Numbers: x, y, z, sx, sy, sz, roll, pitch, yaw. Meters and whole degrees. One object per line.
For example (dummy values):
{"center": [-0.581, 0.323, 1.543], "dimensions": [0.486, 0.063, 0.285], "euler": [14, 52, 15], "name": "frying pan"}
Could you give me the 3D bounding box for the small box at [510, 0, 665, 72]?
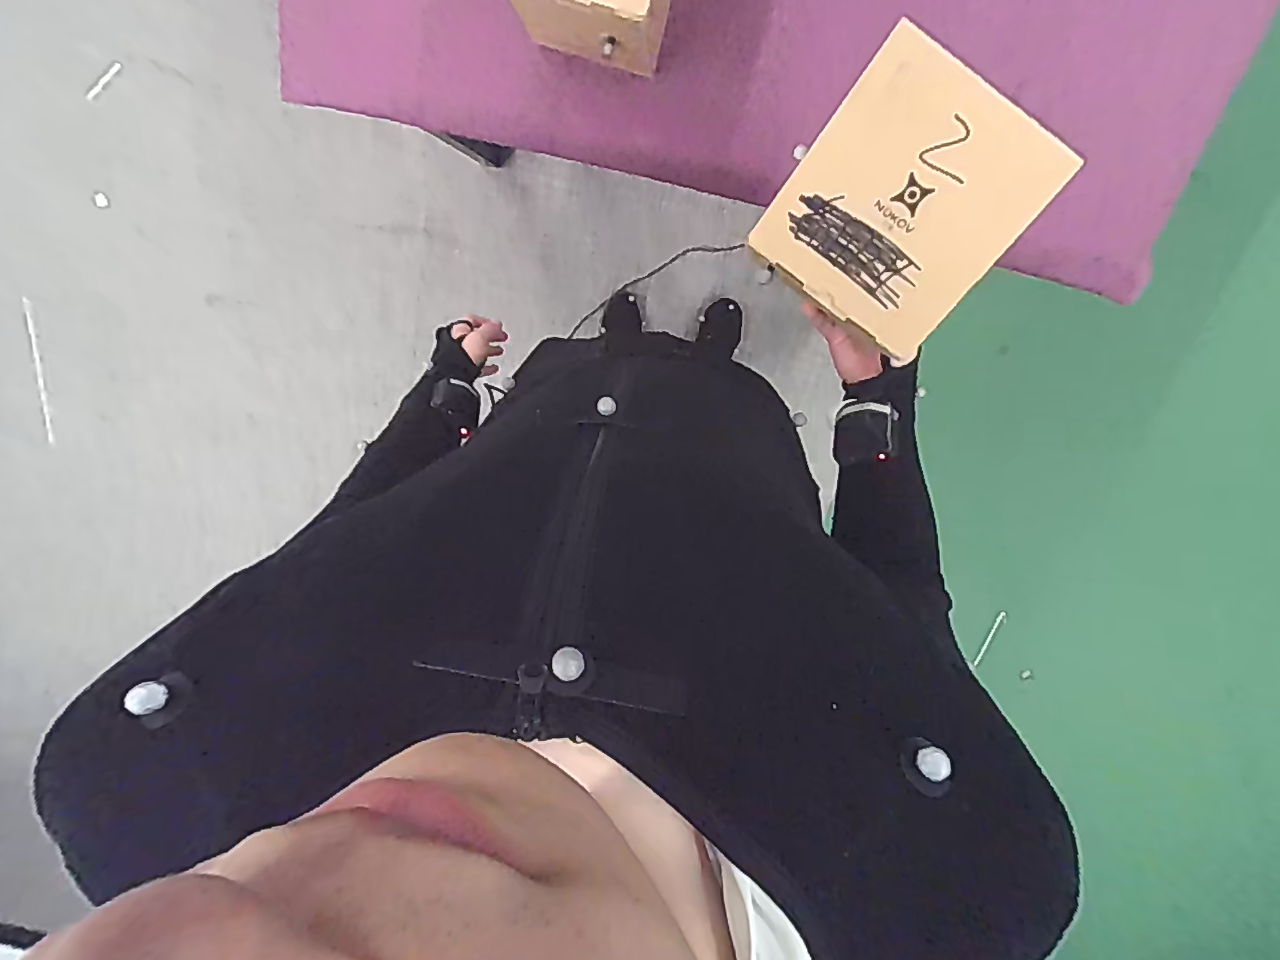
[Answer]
{"center": [-0.050, -0.605, 0.610], "dimensions": [0.168, 0.176, 0.179], "euler": [16, 110, -3], "name": "small box"}
